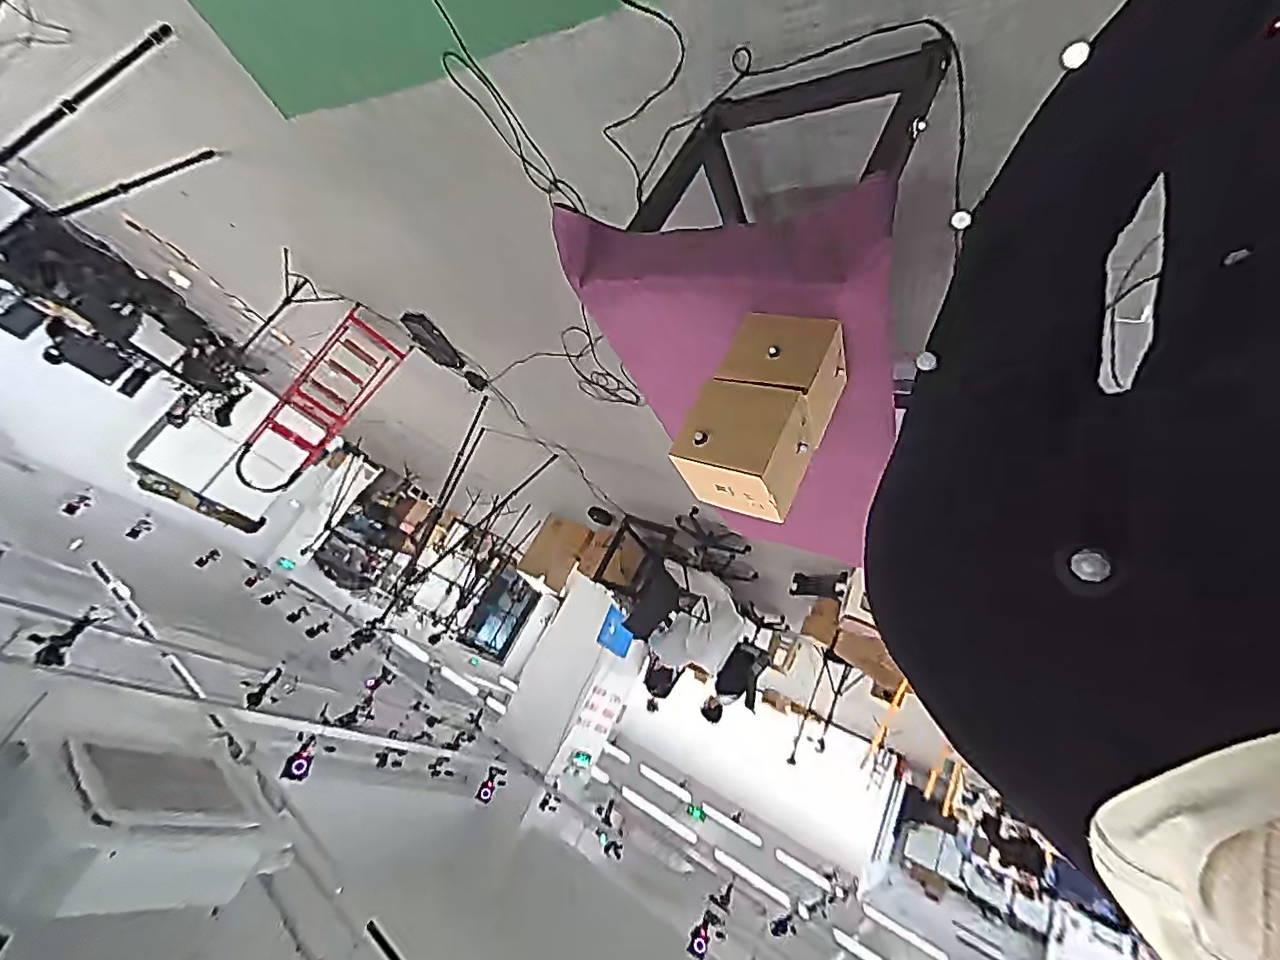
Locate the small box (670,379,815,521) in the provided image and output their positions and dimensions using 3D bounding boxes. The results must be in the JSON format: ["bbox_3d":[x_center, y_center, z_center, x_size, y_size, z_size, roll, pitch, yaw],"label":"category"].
[{"bbox_3d":[0.184,-0.057,0.947,0.179,0.176,0.168,16,159,33],"label":"small box"}]
